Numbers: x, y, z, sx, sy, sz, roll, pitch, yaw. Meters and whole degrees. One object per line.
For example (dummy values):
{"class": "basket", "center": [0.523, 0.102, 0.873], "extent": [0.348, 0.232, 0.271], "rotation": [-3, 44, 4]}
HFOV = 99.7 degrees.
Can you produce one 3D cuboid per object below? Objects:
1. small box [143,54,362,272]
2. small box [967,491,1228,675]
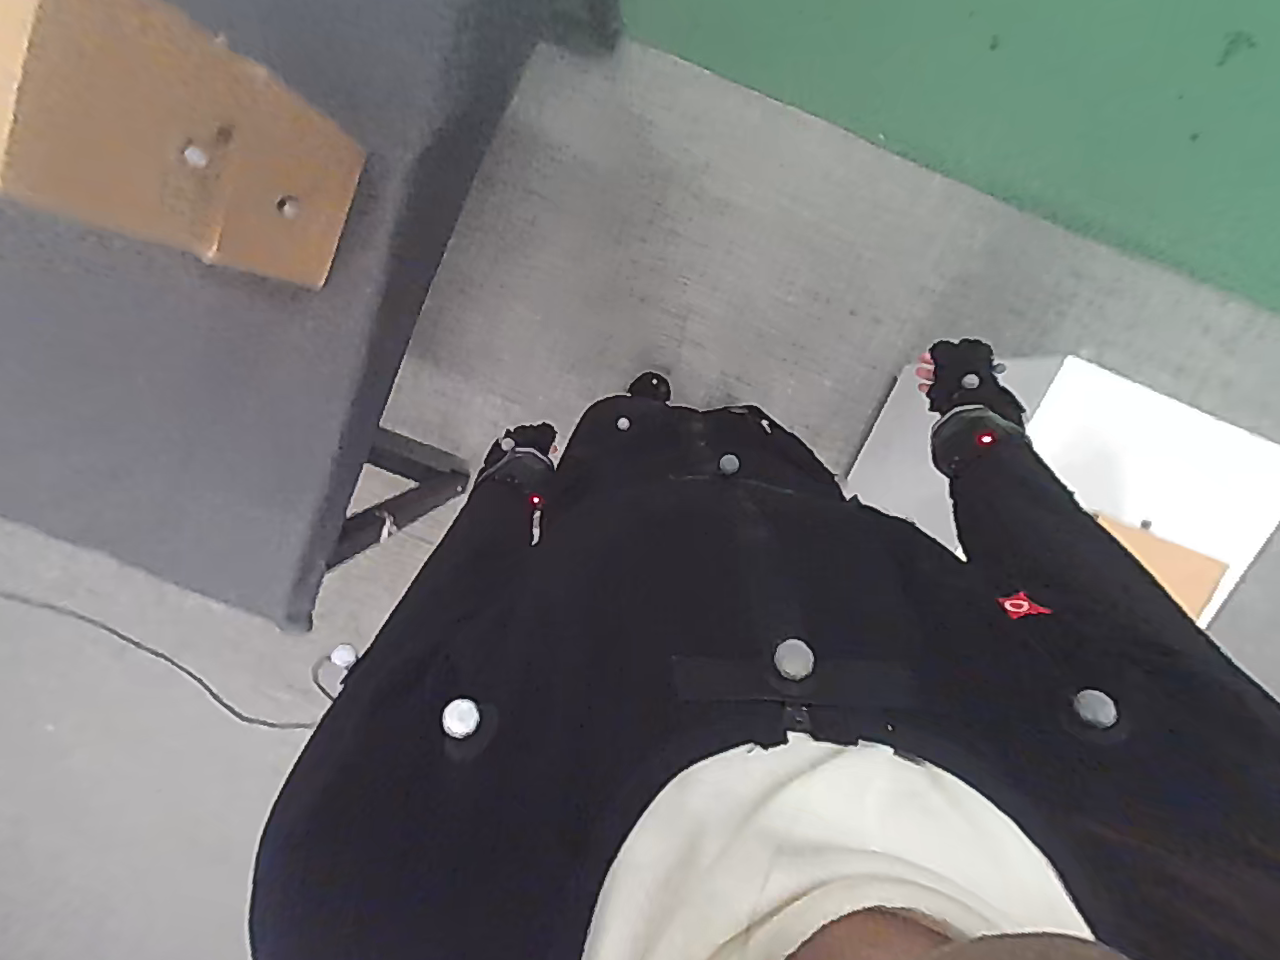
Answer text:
{"class": "small box", "center": [-0.431, -0.344, 0.572], "extent": [0.168, 0.176, 0.179], "rotation": [26, 102, -1]}
{"class": "small box", "center": [0.601, 0.127, 0.739], "extent": [0.179, 0.176, 0.168], "rotation": [20, 101, 1]}
